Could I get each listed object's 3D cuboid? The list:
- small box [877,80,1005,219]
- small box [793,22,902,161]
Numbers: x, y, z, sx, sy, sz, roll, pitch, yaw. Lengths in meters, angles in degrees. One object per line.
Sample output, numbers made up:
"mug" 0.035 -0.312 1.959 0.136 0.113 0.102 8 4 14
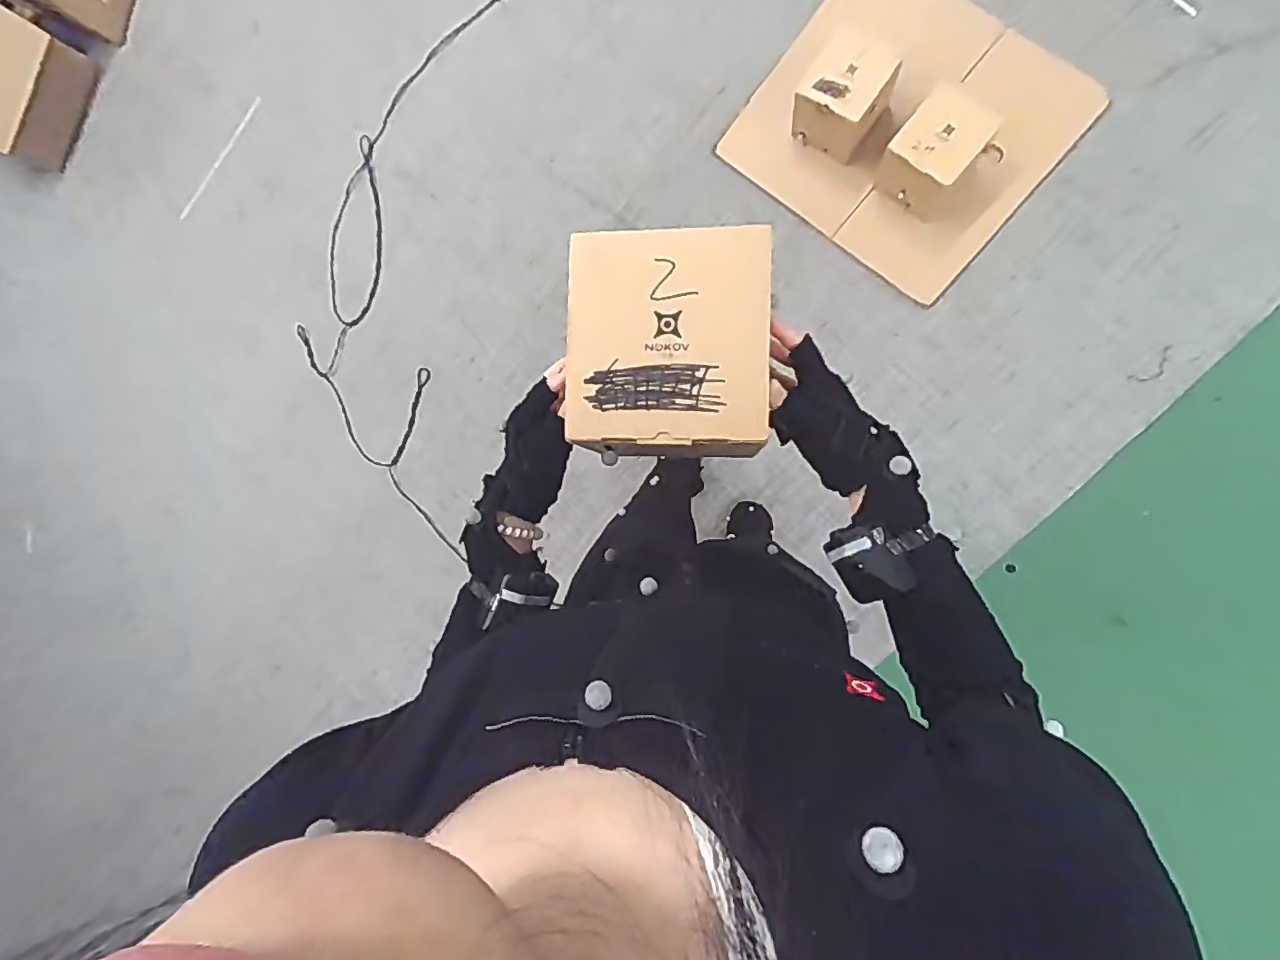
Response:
"small box" 0.673 -0.745 1.239 0.168 0.176 0.179 41 100 10
"small box" 0.478 -0.901 1.275 0.168 0.176 0.179 36 98 10
